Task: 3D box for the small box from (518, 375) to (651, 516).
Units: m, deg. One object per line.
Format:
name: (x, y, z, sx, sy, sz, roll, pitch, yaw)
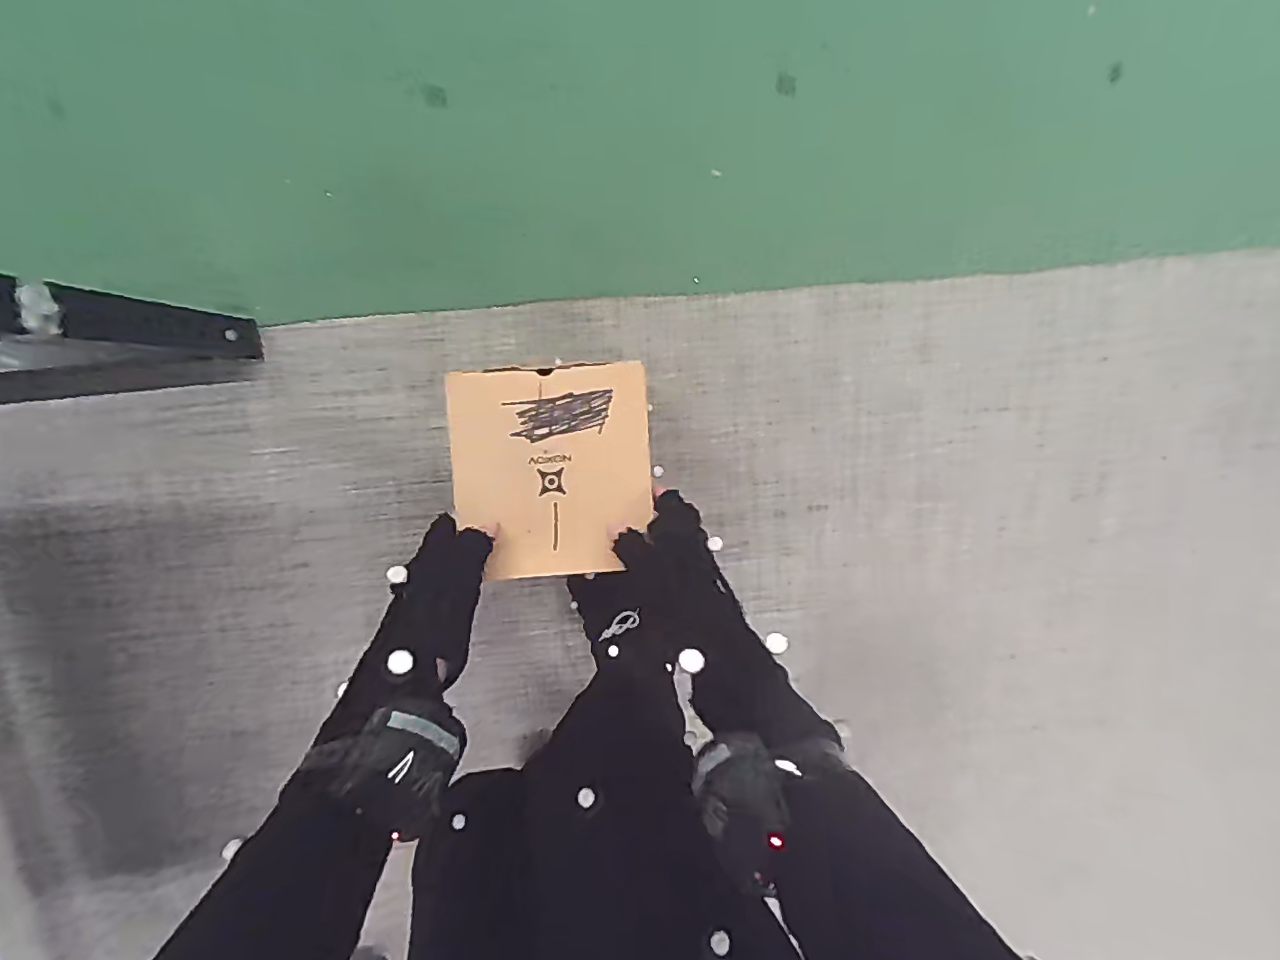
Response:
small box: (-0.076, -0.055, 0.773, 0.168, 0.176, 0.179, 3, 100, -2)
